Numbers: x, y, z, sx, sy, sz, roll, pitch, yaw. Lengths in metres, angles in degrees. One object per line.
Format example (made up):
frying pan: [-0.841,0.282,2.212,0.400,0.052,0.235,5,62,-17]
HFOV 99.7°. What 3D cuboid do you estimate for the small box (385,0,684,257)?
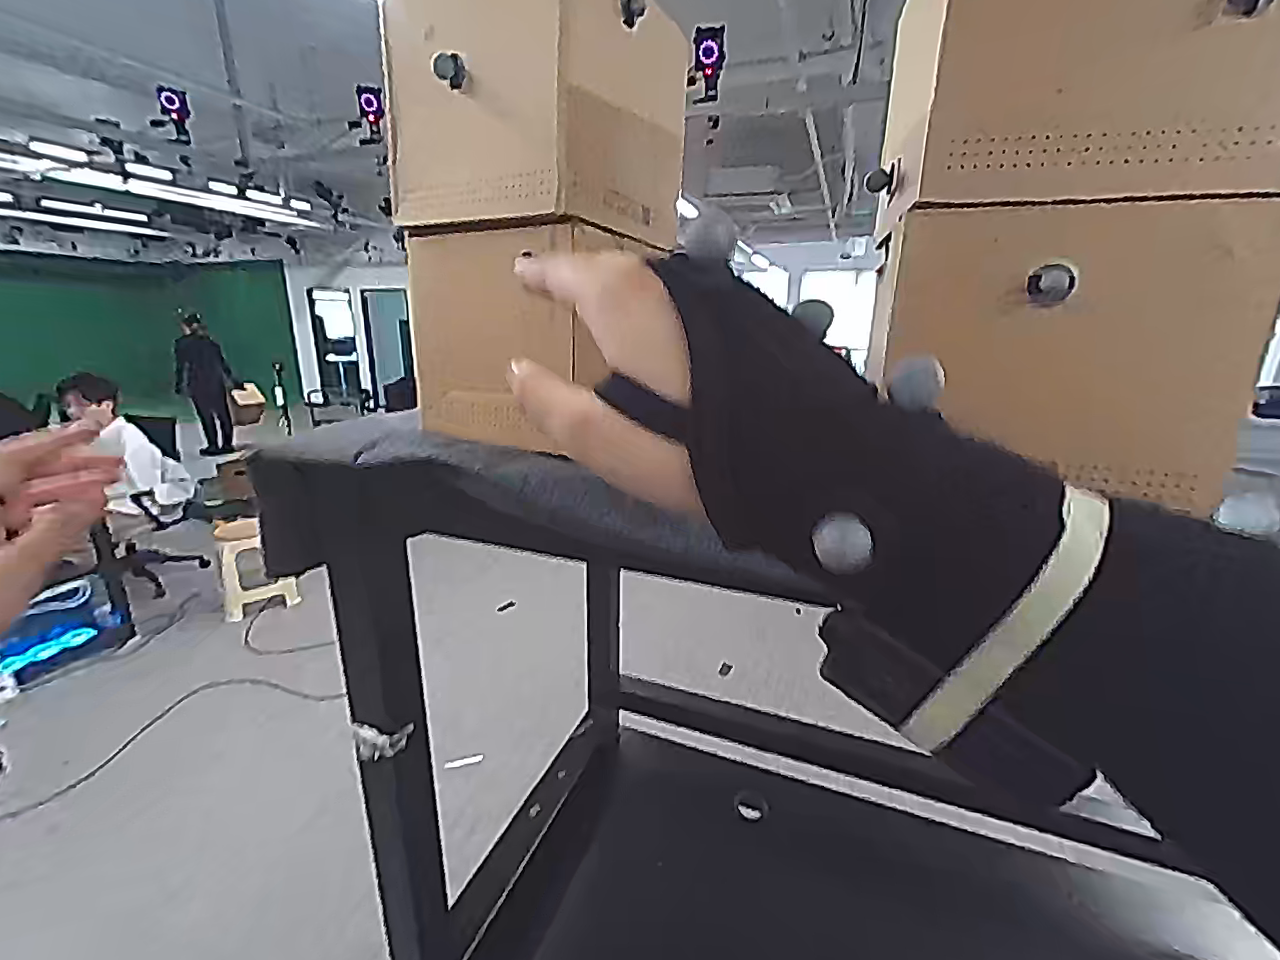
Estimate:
small box: [-0.079,-0.277,0.443,0.179,0.176,0.168,9,16,29]

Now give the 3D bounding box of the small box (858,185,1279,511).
small box: [0.251,-0.083,0.371,0.179,0.176,0.168,7,15,17]

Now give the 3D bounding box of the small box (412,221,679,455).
small box: [-0.080,-0.120,0.492,0.179,0.176,0.168,10,16,28]

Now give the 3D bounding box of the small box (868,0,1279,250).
small box: [0.257,-0.242,0.340,0.179,0.176,0.168,4,13,13]
